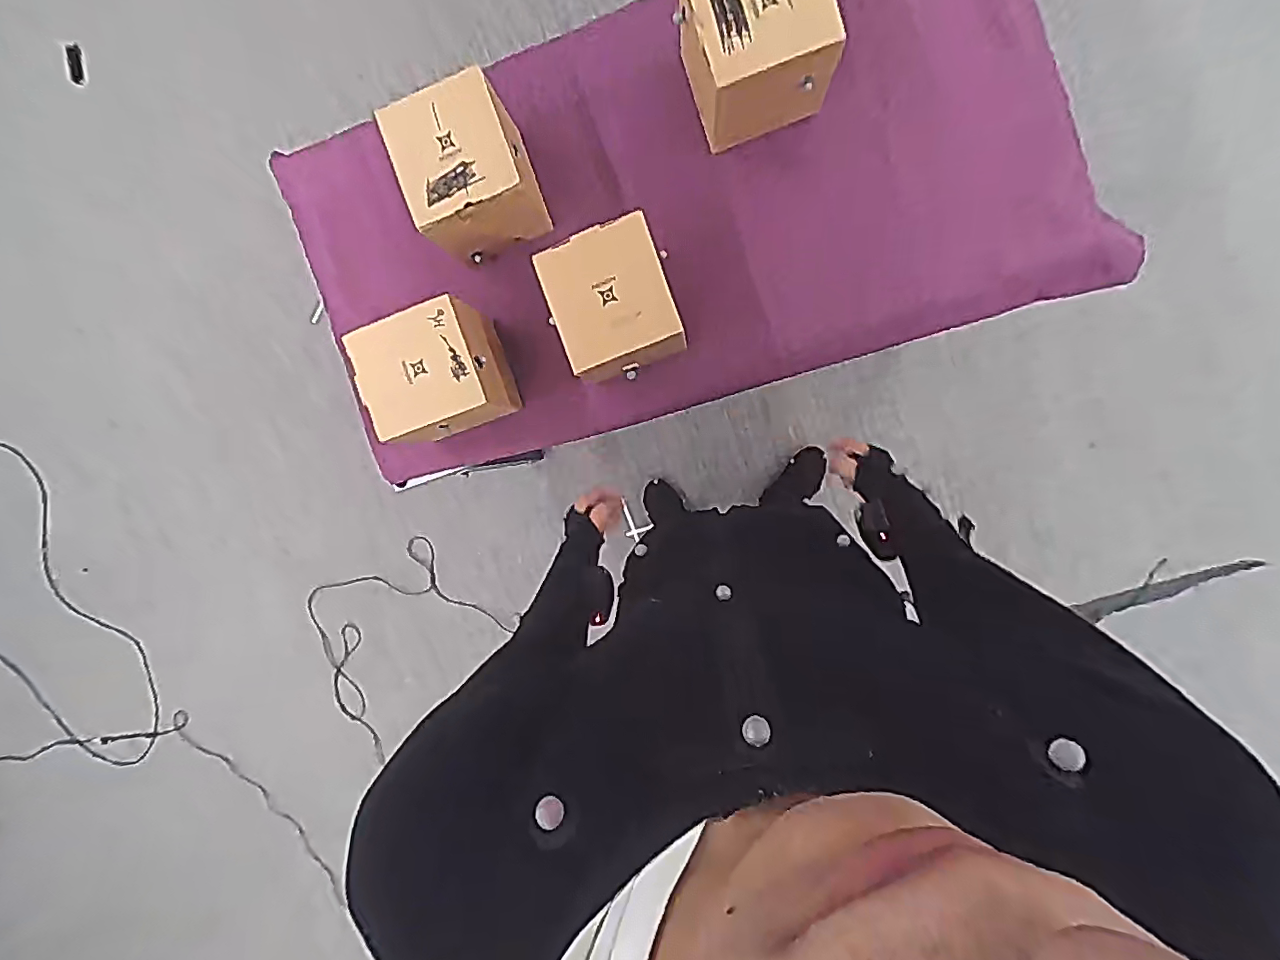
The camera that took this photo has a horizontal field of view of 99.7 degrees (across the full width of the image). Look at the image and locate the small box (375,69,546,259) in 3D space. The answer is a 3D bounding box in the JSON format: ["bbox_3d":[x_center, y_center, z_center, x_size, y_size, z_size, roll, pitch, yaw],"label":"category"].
[{"bbox_3d":[-0.262,-0.463,0.832,0.168,0.176,0.179,-19,91,7],"label":"small box"}]

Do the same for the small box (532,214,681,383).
[{"bbox_3d":[-0.041,-0.261,0.823,0.168,0.176,0.179,-20,93,8],"label":"small box"}]

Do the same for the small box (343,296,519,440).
[{"bbox_3d":[-0.319,-0.164,0.857,0.179,0.176,0.168,-19,92,7],"label":"small box"}]
